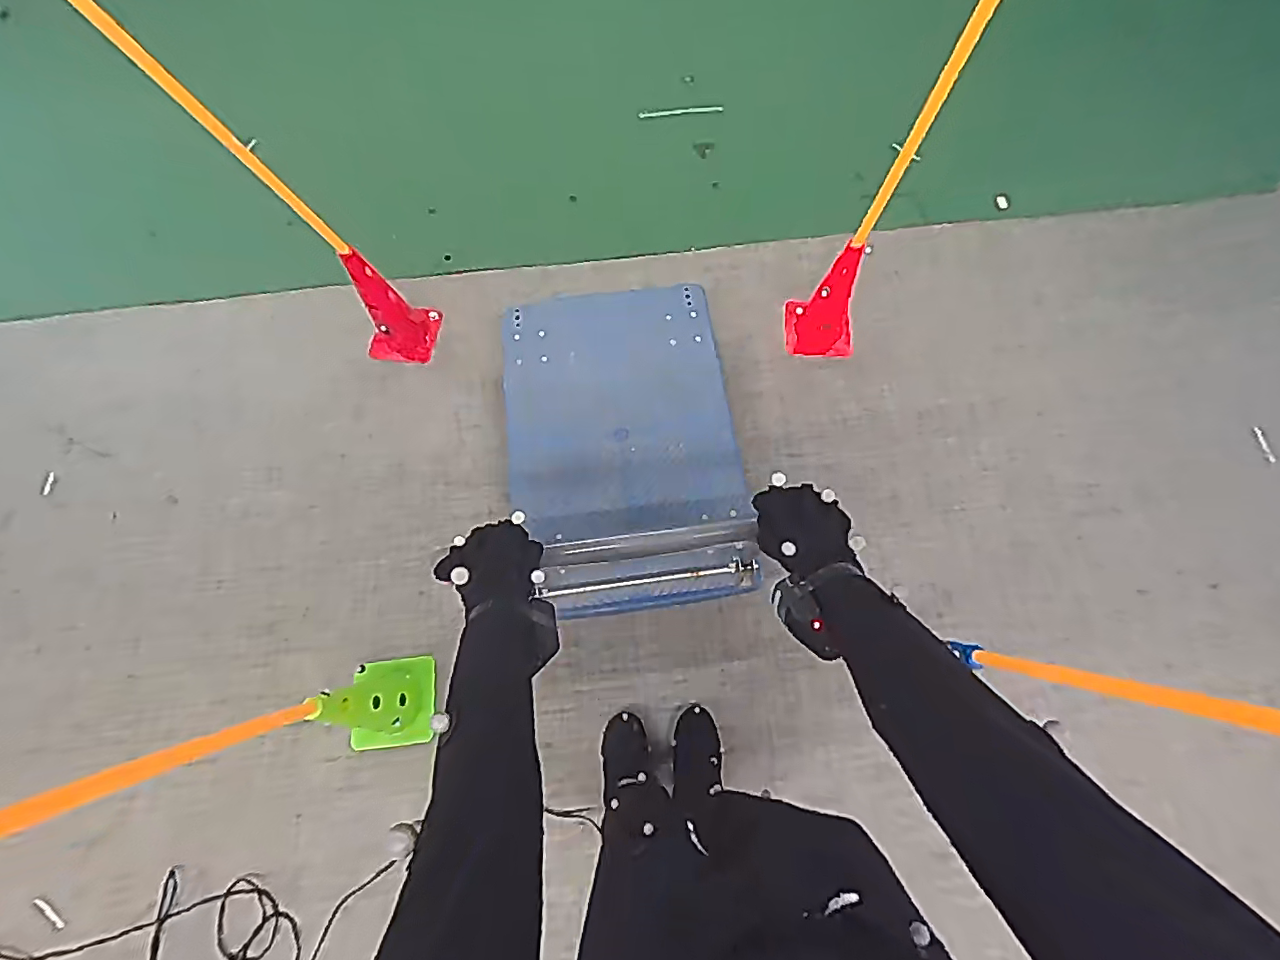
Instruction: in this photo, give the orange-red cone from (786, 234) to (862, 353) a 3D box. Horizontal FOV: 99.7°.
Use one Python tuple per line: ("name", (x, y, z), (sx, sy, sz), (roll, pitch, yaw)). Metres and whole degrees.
("orange-red cone", (0.542, -0.535, 1.504), (0.198, 0.360, 0.199), (4, 71, 4))
